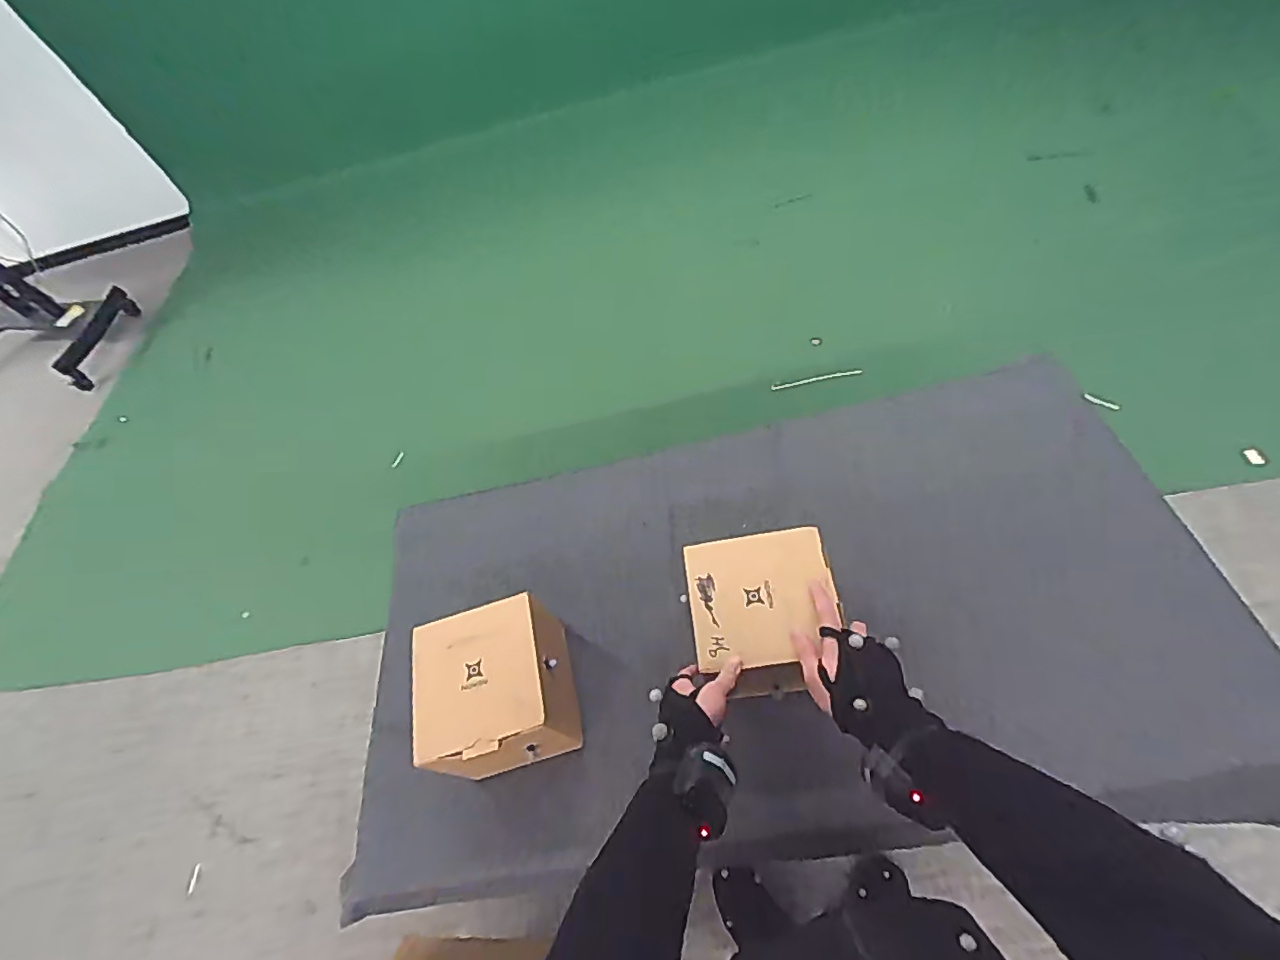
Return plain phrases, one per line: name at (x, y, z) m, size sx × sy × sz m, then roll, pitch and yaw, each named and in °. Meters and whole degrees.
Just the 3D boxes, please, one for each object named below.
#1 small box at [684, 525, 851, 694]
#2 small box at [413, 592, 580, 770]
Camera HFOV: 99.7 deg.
small box at (0.162, 0.180, 0.725) m, size 0.179 × 0.176 × 0.168 m, roll -10°, pitch 57°, yaw 7°
small box at (-0.193, 0.285, 0.747) m, size 0.168 × 0.176 × 0.179 m, roll -18°, pitch 54°, yaw 0°
